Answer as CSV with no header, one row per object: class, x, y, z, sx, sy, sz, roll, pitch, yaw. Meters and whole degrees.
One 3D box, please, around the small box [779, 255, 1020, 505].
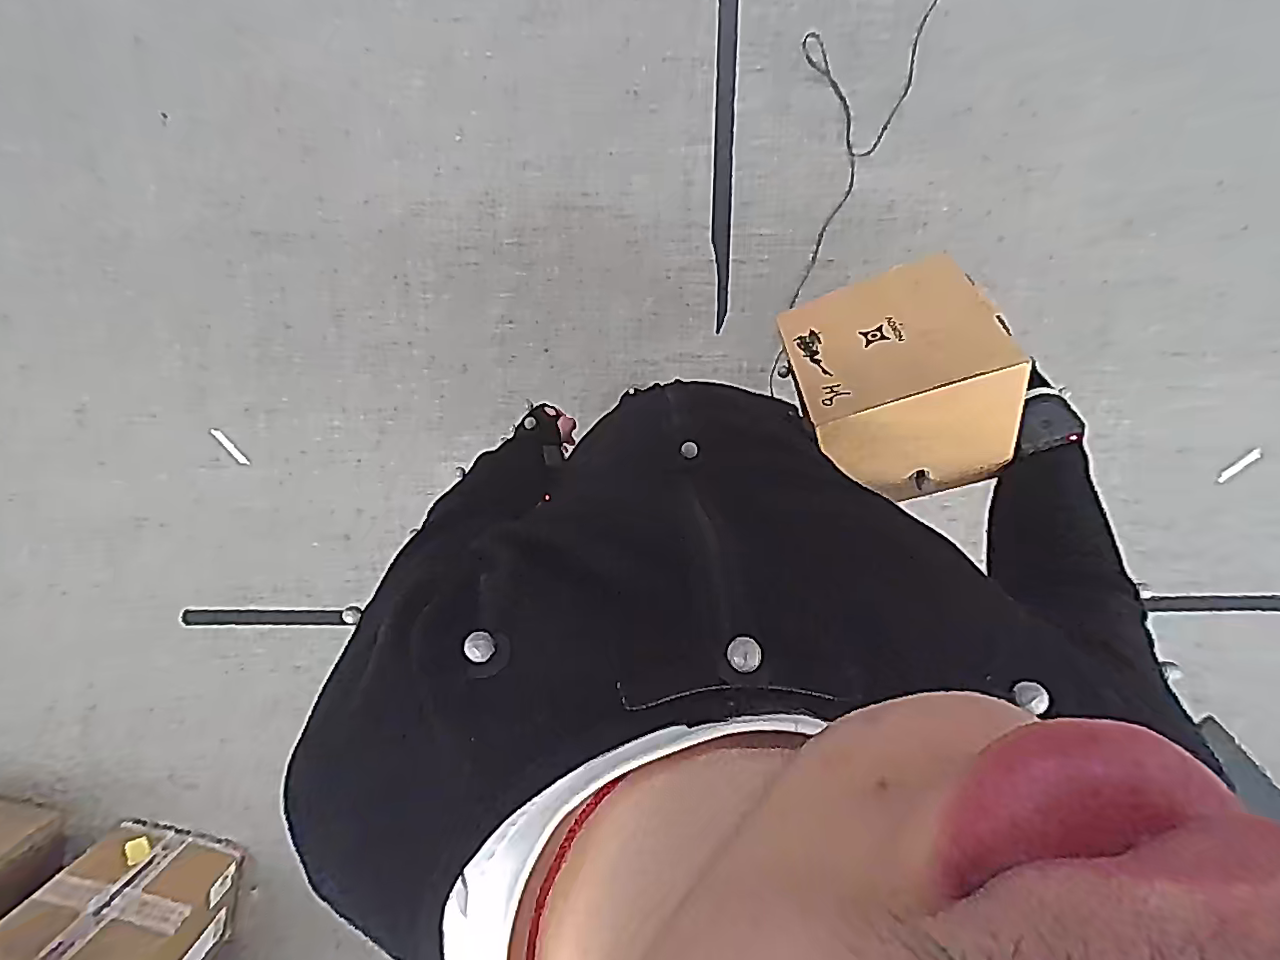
small box,0.266,-0.098,0.582,0.179,0.168,0.176,-17,140,16
